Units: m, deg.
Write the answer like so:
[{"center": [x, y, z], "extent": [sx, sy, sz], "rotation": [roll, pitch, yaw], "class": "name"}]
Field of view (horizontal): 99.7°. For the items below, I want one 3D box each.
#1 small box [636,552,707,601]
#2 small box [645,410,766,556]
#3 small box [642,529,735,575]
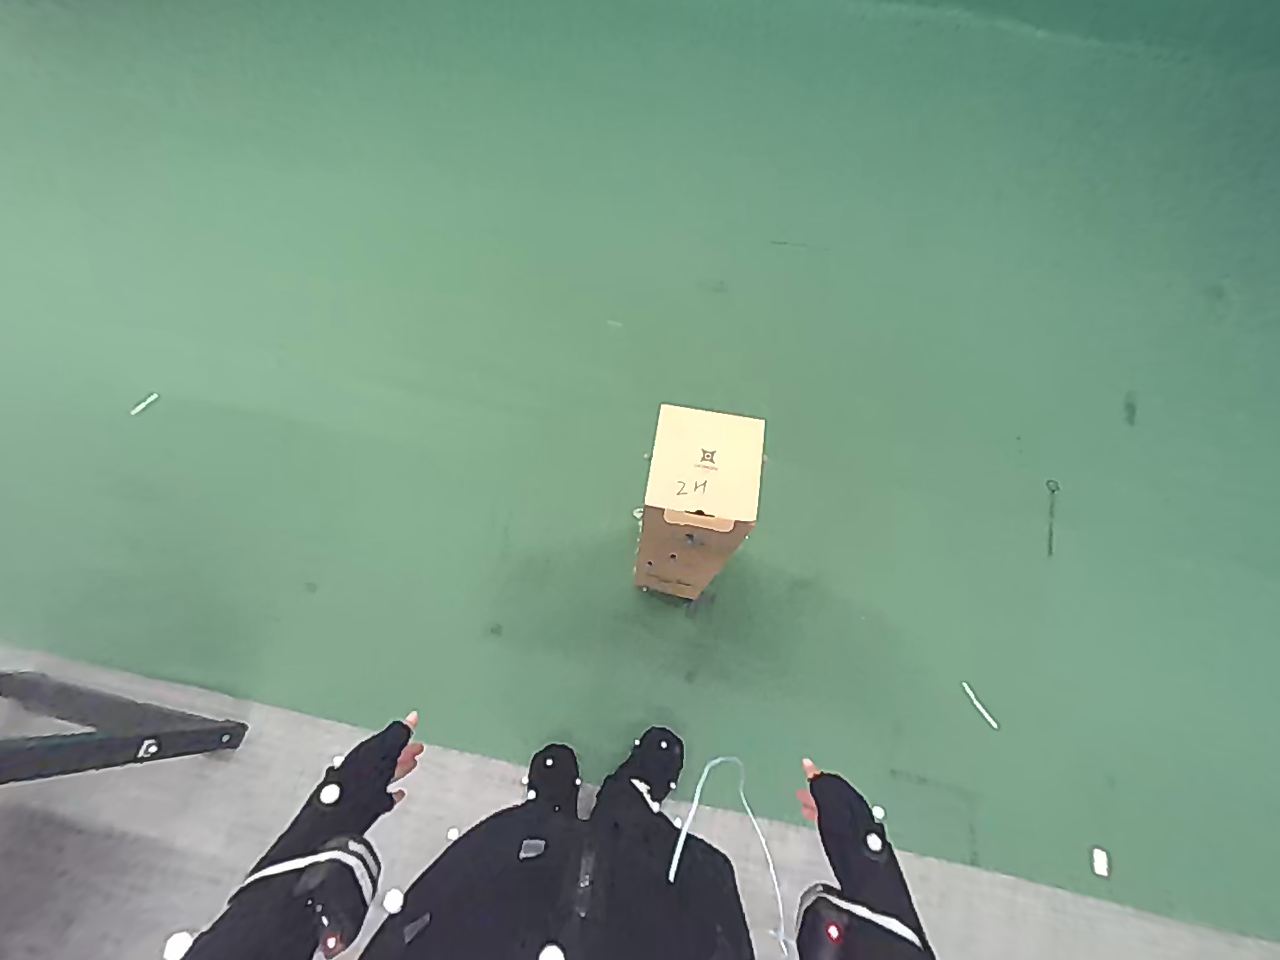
[{"center": [0.089, 0.192, 1.347], "extent": [0.168, 0.176, 0.179], "rotation": [13, 68, 4], "class": "small box"}, {"center": [0.101, 0.010, 0.890], "extent": [0.168, 0.176, 0.179], "rotation": [9, 69, 3], "class": "small box"}, {"center": [0.099, 0.070, 1.044], "extent": [0.168, 0.176, 0.179], "rotation": [11, 68, 3], "class": "small box"}]
